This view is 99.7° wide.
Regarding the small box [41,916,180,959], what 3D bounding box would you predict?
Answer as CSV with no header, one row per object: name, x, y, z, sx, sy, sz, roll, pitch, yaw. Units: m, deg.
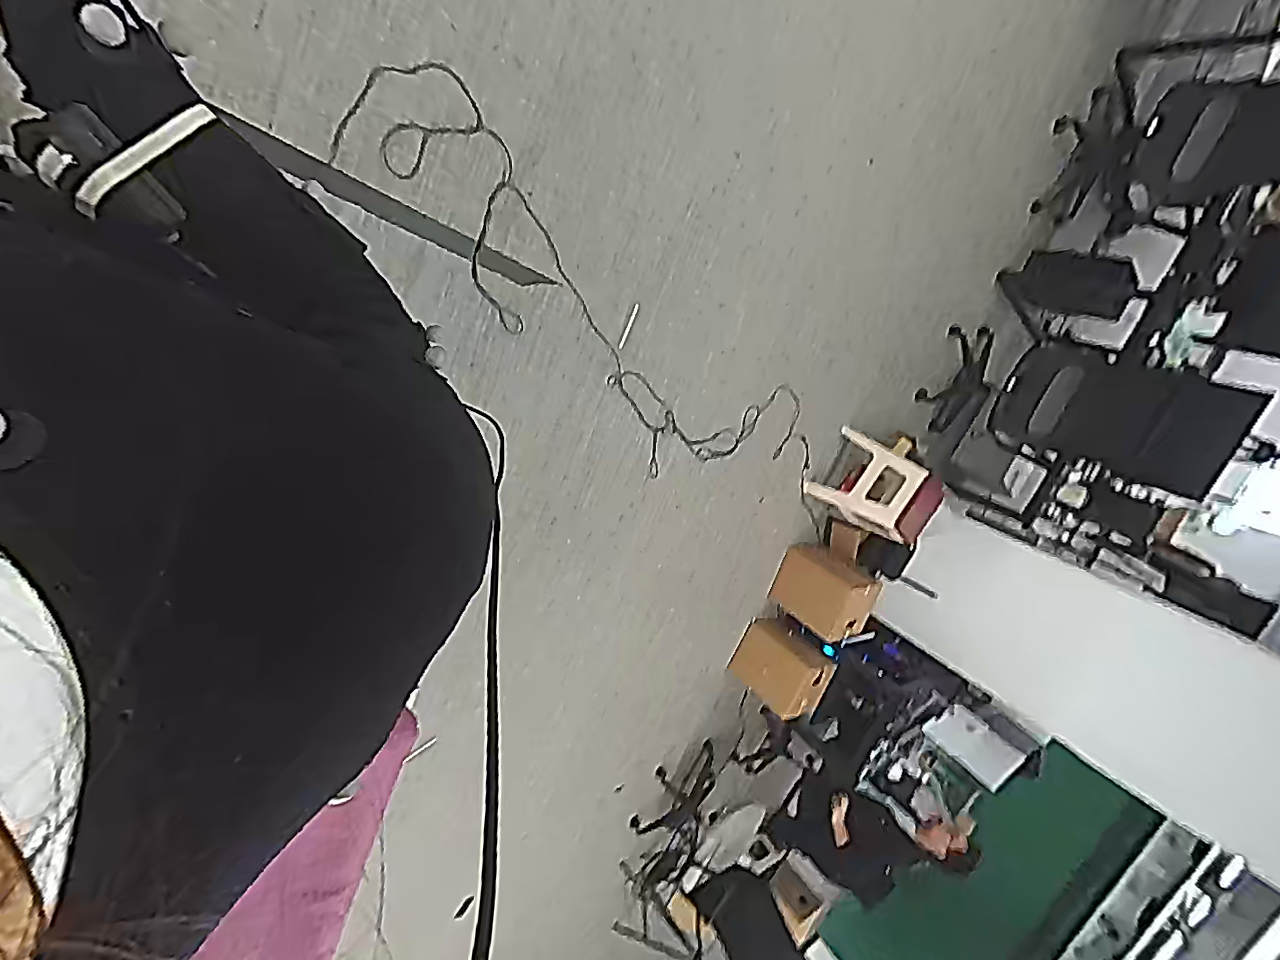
small box,-0.673,0.686,0.644,0.179,0.176,0.168,7,110,-43
